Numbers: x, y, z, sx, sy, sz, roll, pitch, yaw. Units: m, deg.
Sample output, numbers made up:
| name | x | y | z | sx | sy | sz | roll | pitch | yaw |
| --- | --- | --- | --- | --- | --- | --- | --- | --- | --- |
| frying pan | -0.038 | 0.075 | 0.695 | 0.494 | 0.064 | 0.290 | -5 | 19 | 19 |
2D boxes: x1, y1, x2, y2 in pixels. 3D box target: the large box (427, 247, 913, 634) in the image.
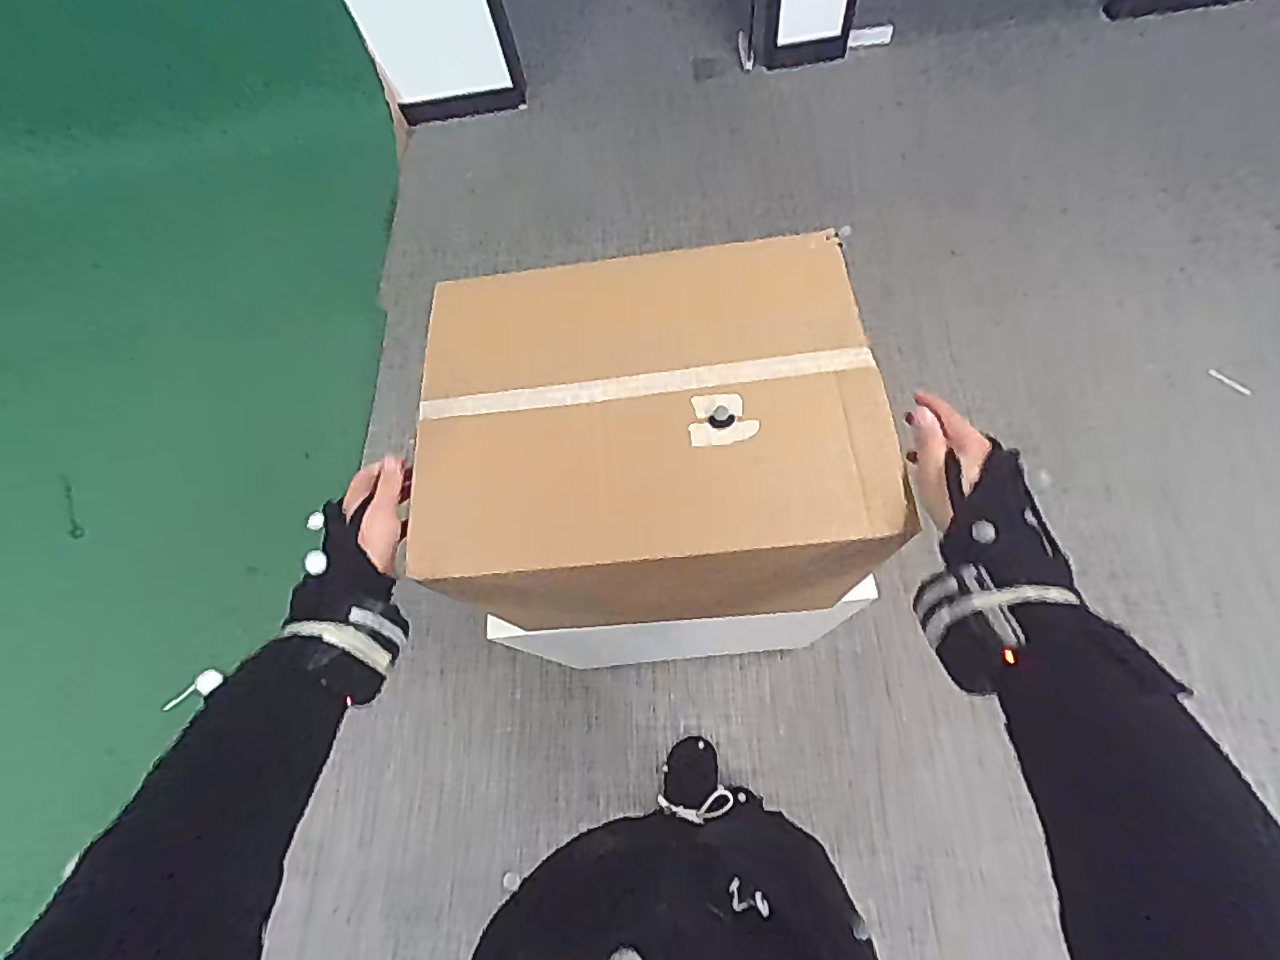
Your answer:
| name | x | y | z | sx | sy | sz | roll | pitch | yaw |
| --- | --- | --- | --- | --- | --- | --- | --- | --- | --- |
| large box | 0.021 | -0.016 | 0.629 | 0.408 | 0.320 | 0.320 | -6 | 66 | 3 |
